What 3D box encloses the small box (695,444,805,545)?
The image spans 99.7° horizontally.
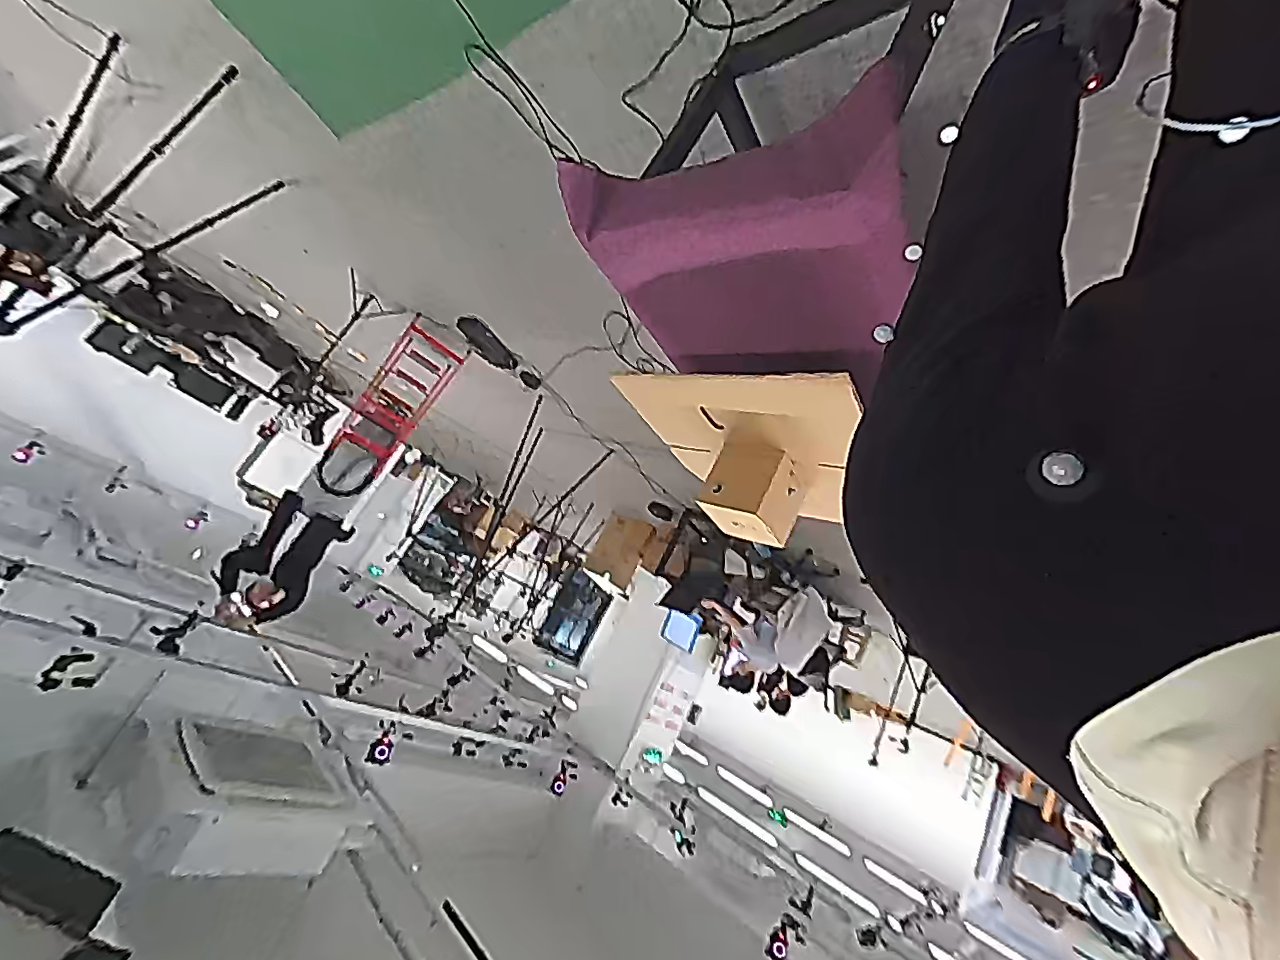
[{"bbox_3d":[0.268,0.030,1.302,0.179,0.176,0.168,11,156,43],"label":"small box"}]
